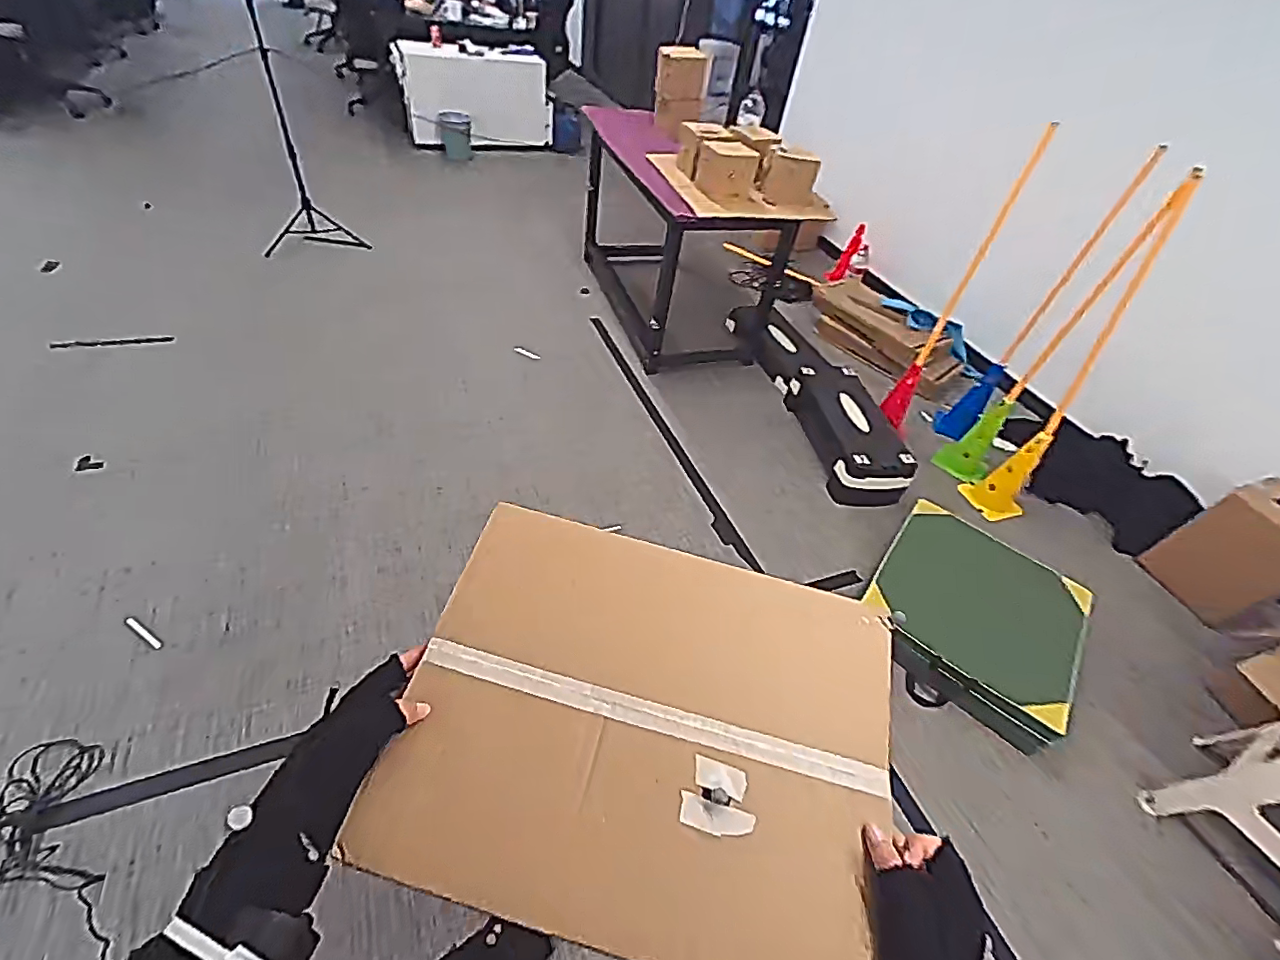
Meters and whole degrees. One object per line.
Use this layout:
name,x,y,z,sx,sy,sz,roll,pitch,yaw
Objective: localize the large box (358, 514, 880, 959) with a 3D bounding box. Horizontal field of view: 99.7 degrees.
large box,-0.002,0.285,0.599,0.408,0.320,0.320,15,58,4
